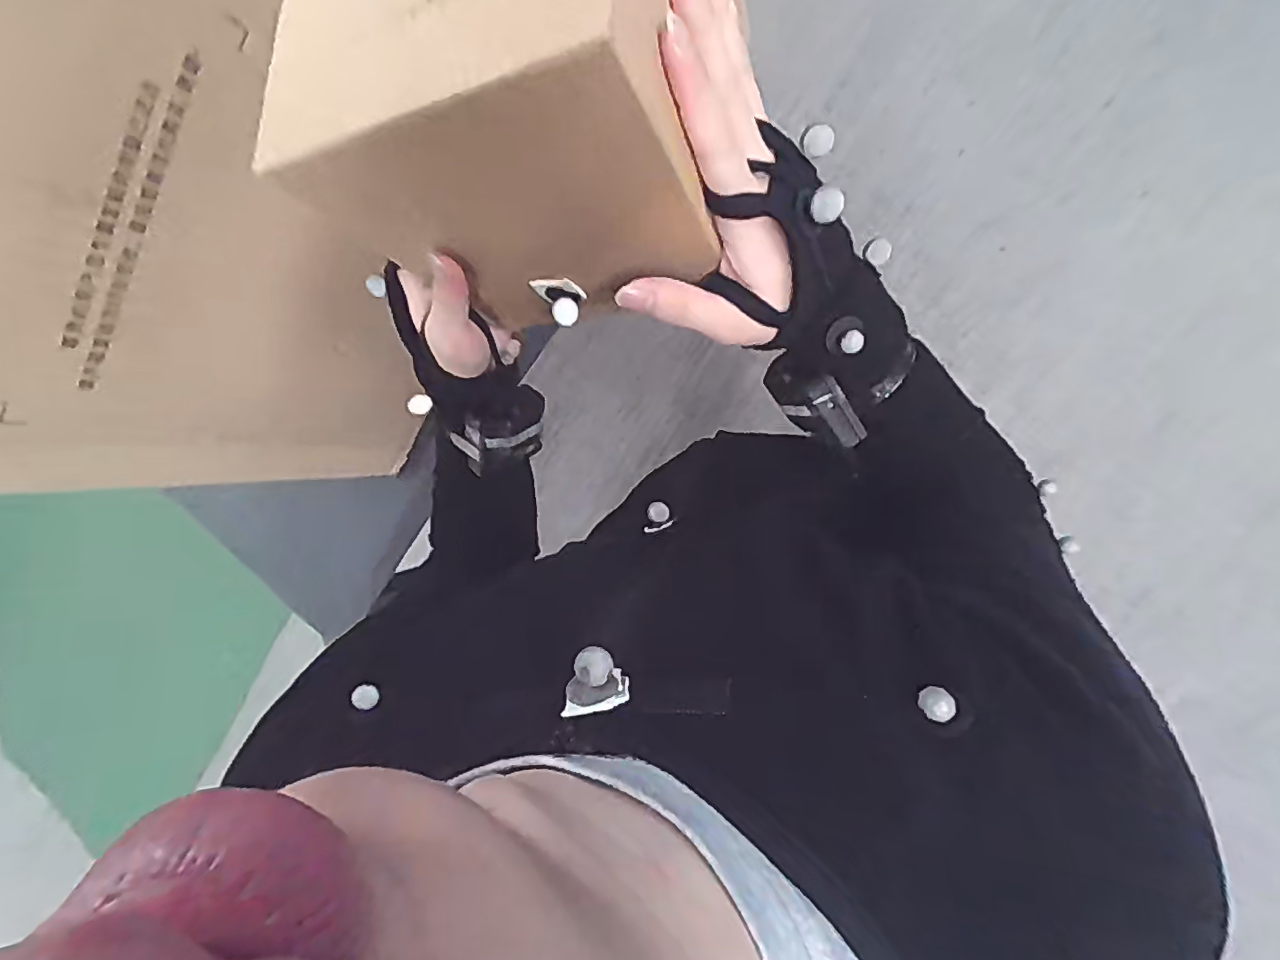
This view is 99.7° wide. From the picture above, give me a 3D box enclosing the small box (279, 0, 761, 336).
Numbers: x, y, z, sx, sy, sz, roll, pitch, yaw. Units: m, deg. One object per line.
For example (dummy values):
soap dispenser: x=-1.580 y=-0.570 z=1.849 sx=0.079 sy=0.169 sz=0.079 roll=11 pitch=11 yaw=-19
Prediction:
small box: x=-0.038 y=-0.194 z=0.275 sx=0.168 sy=0.176 sz=0.179 roll=-2 pitch=81 yaw=24
